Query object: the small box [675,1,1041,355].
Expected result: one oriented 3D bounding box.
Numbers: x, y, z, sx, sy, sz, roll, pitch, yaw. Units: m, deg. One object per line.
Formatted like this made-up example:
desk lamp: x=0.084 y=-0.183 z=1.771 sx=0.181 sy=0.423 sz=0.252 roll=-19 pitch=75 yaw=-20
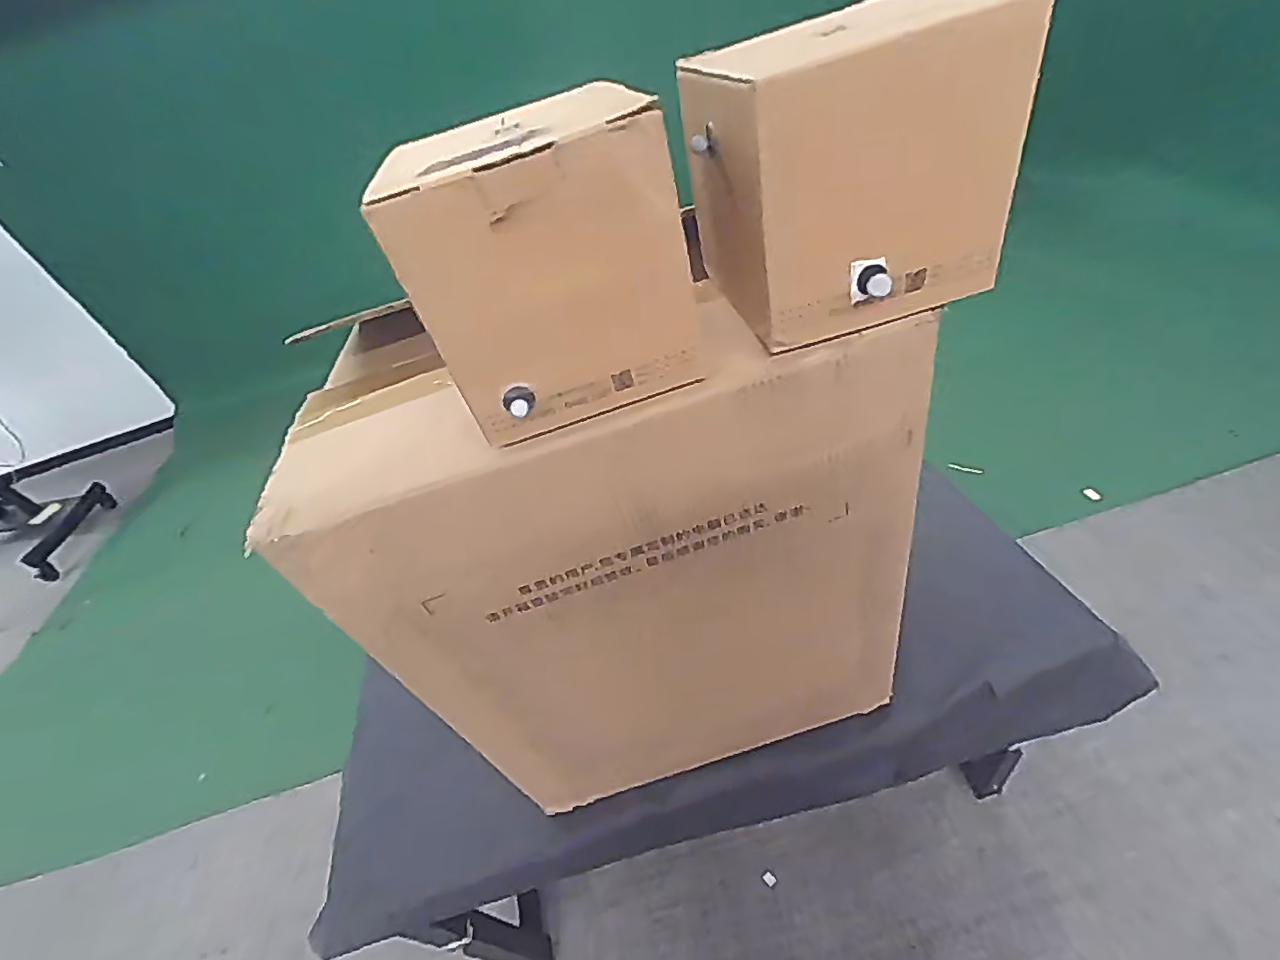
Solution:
small box: x=0.138 y=-0.219 z=0.402 sx=0.168 sy=0.176 sz=0.179 roll=-19 pitch=42 yaw=0
